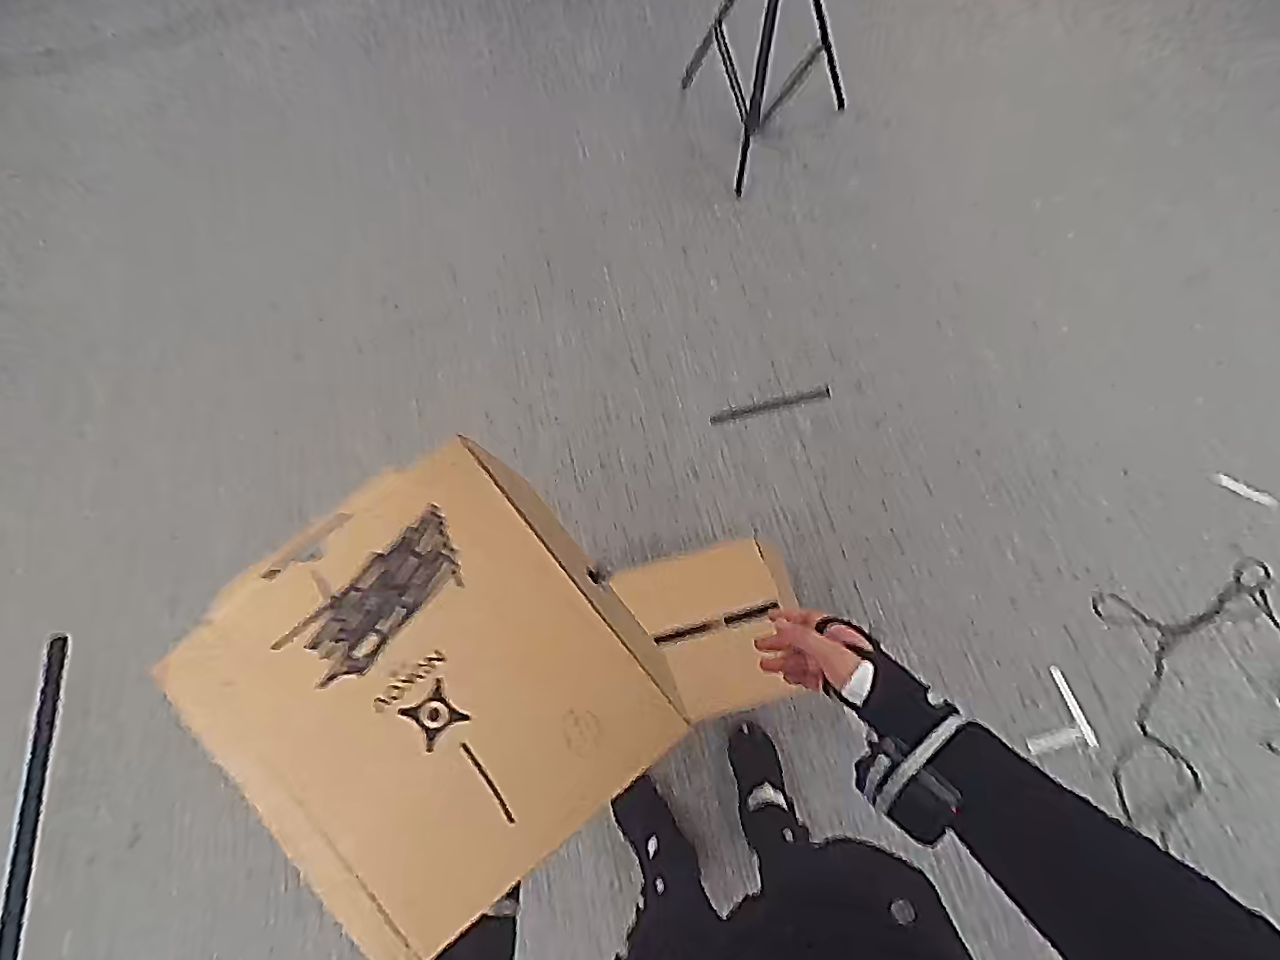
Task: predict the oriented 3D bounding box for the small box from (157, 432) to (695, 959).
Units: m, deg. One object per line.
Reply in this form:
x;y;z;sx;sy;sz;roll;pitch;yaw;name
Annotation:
-0.095;0.102;0.312;0.168;0.176;0.179;-39;87;-6;small box
